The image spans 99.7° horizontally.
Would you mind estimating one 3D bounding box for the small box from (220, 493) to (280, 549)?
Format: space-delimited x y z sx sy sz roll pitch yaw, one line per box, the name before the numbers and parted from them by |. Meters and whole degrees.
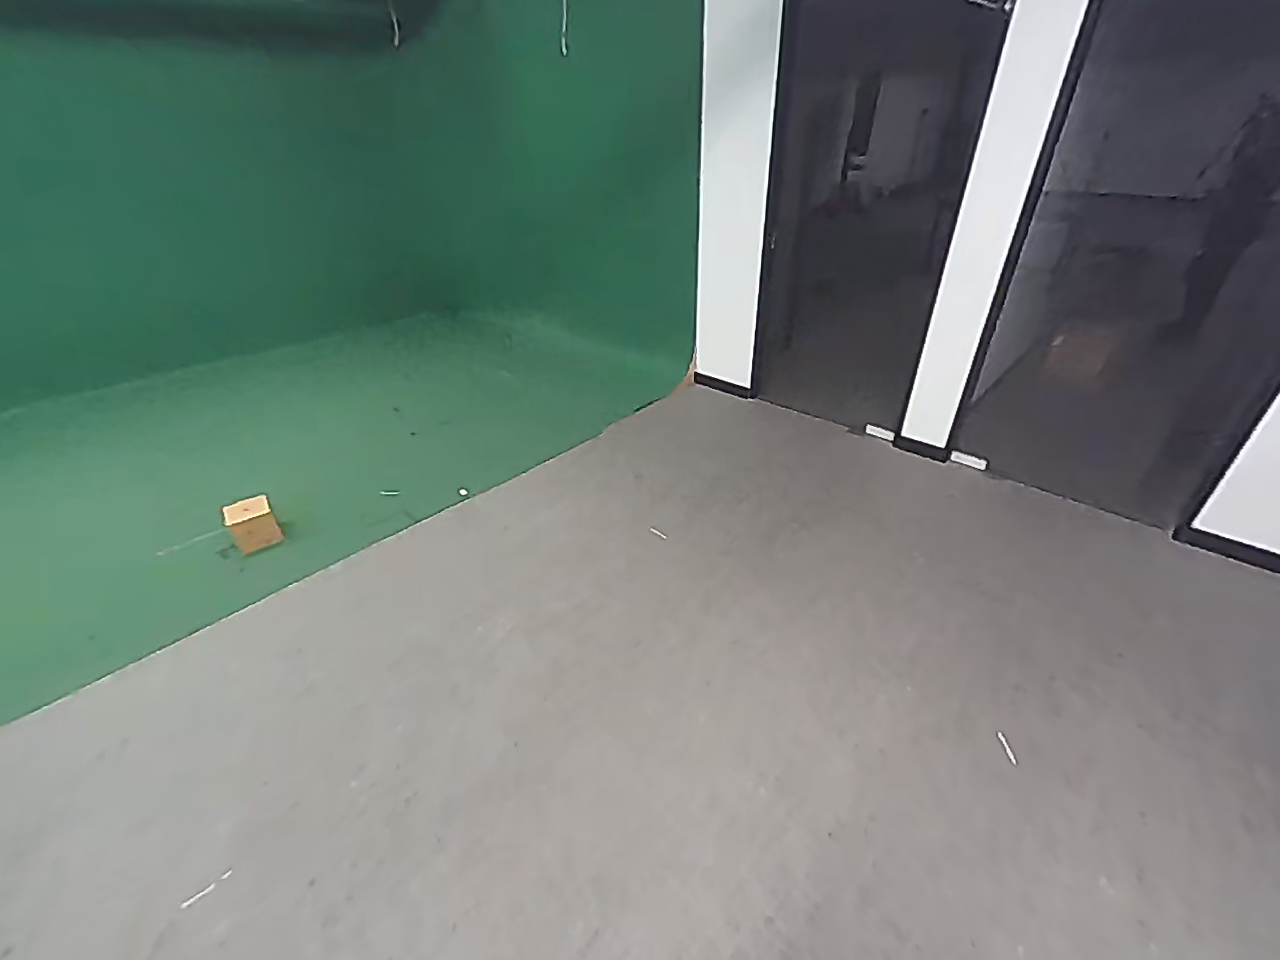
small box | -1.737 0.189 2.413 0.168 0.176 0.179 -24 40 -31
